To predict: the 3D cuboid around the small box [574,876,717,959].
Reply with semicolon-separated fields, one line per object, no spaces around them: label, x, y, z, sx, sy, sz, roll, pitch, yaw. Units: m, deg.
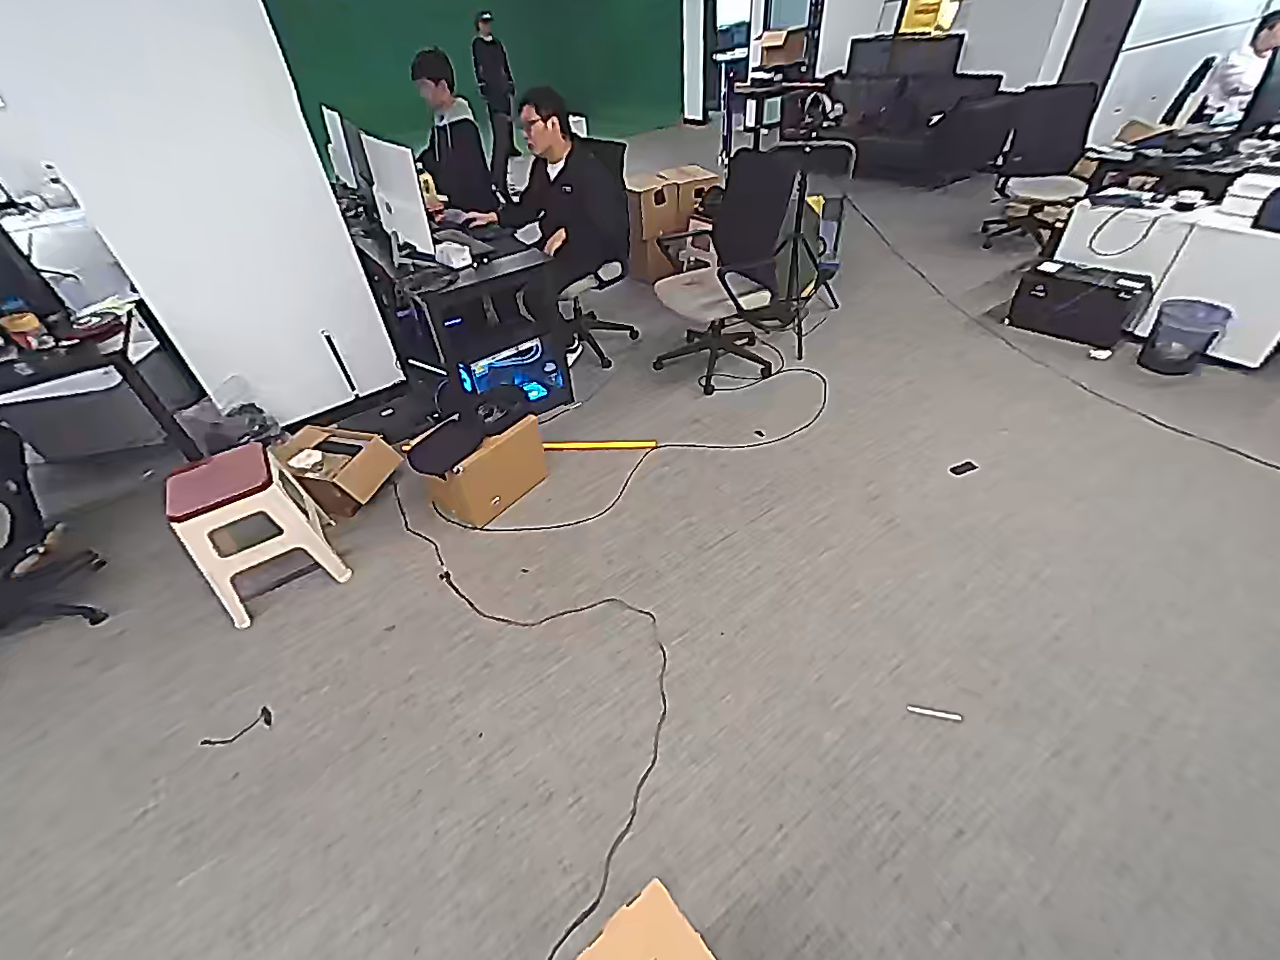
small box;0.022;0.764;0.820;0.168;0.176;0.179;-31;47;-27
